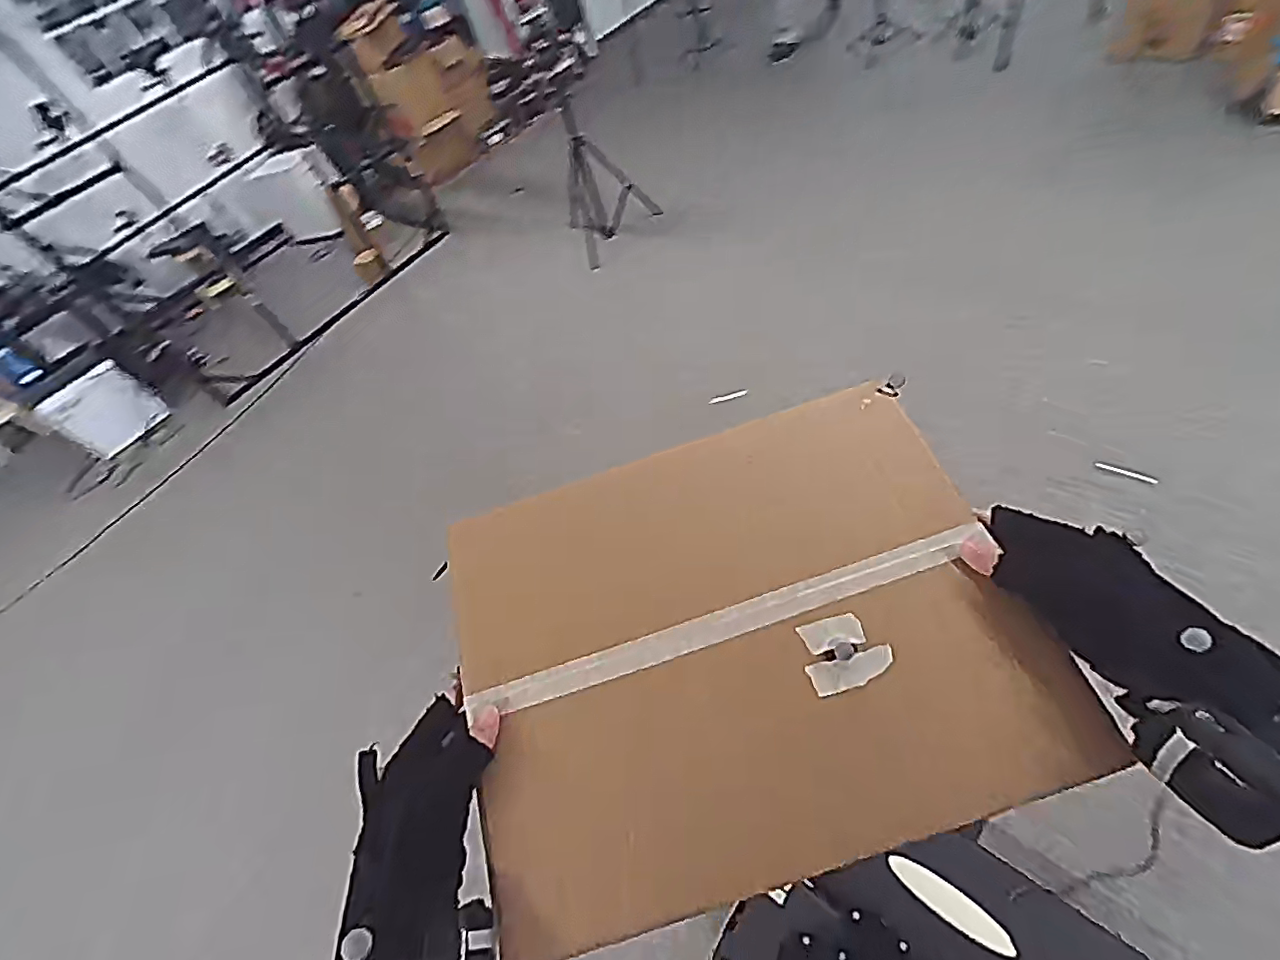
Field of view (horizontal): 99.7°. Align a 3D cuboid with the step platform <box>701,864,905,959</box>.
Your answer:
[{"bbox_3d":[0.456,1.072,1.040,0.684,0.204,0.286,24,64,35],"label":"step platform"}]

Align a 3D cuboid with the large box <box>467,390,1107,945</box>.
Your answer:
[{"bbox_3d":[0.094,0.175,0.545,0.408,0.320,0.320,-18,62,0],"label":"large box"}]
